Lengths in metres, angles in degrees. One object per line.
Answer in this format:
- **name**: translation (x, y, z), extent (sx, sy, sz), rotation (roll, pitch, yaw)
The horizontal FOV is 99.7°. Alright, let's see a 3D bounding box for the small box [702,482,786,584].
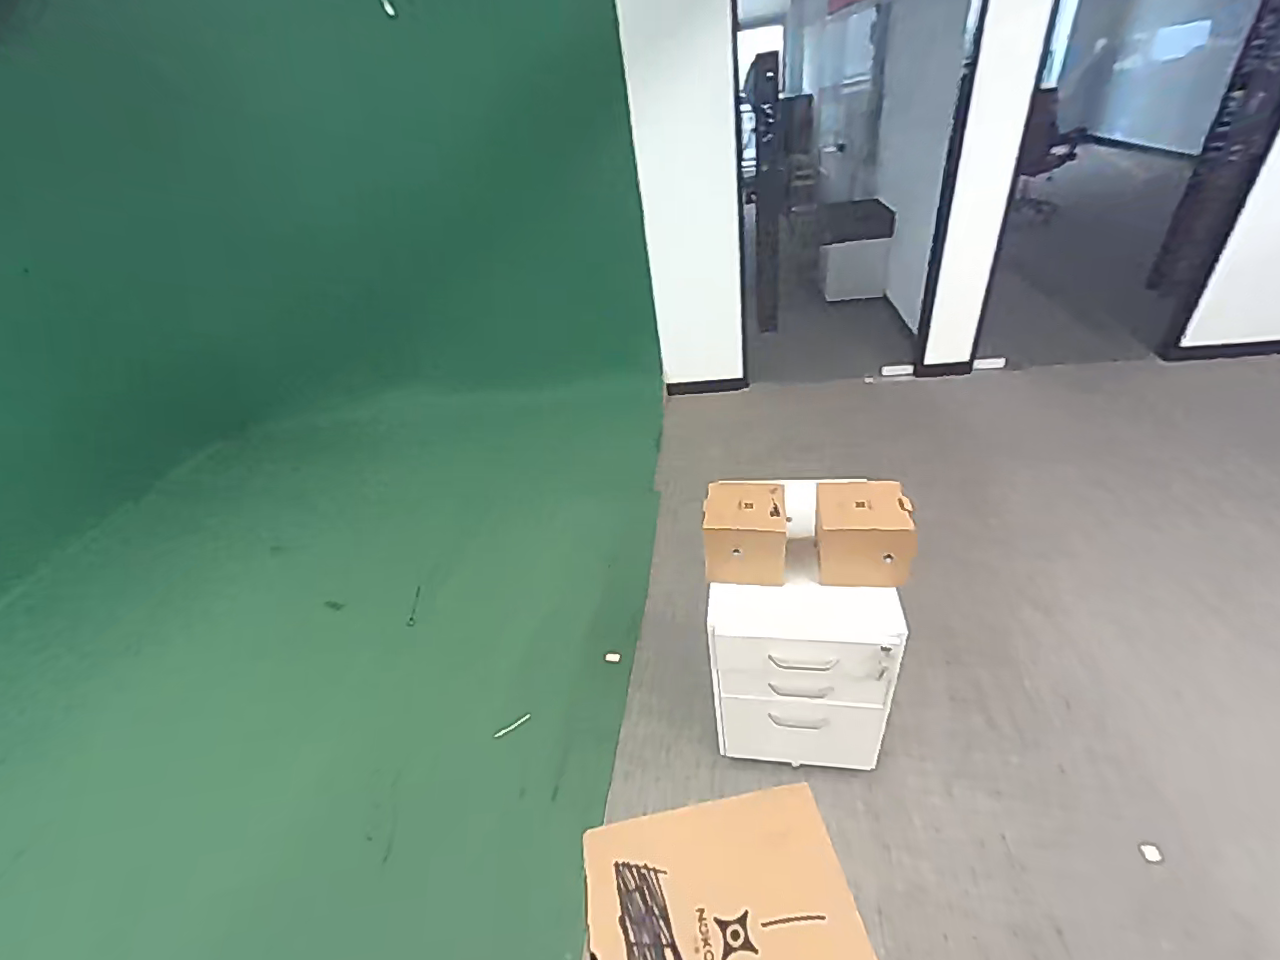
- **small box**: translation (0.240, 0.120, 1.230), extent (0.179, 0.176, 0.168), rotation (1, 38, 13)

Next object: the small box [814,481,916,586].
- **small box**: translation (0.480, 0.118, 1.180), extent (0.179, 0.176, 0.168), rotation (-2, 35, 13)

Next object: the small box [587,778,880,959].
- **small box**: translation (0.067, 0.350, 0.378), extent (0.179, 0.176, 0.168), rotation (-11, 29, 0)
